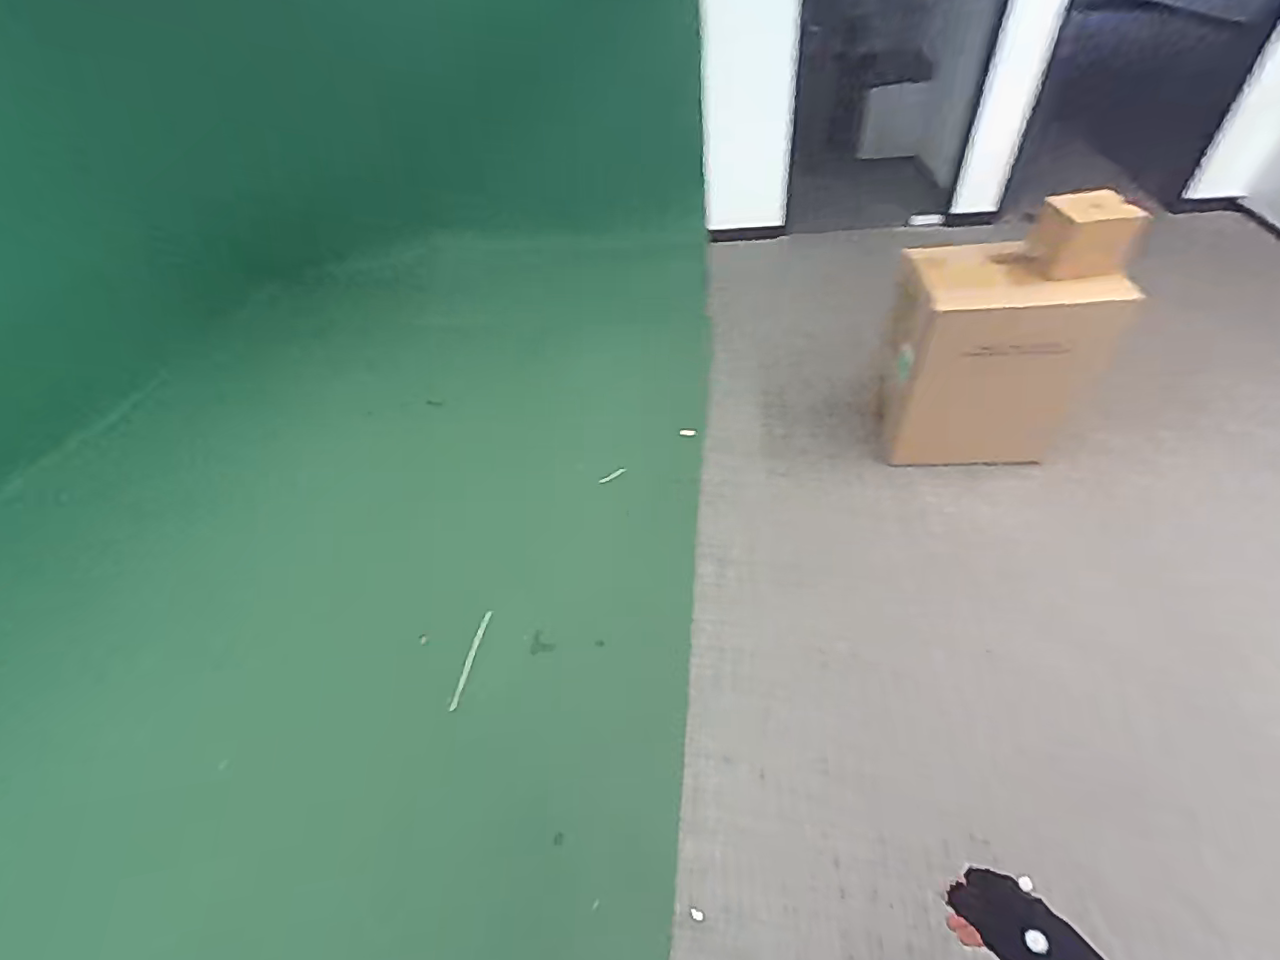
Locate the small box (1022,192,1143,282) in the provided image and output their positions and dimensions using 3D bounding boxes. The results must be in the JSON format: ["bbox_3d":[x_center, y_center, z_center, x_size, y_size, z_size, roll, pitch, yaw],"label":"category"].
[{"bbox_3d":[1.237,-0.684,1.529,0.179,0.176,0.168,-7,48,4],"label":"small box"}]
